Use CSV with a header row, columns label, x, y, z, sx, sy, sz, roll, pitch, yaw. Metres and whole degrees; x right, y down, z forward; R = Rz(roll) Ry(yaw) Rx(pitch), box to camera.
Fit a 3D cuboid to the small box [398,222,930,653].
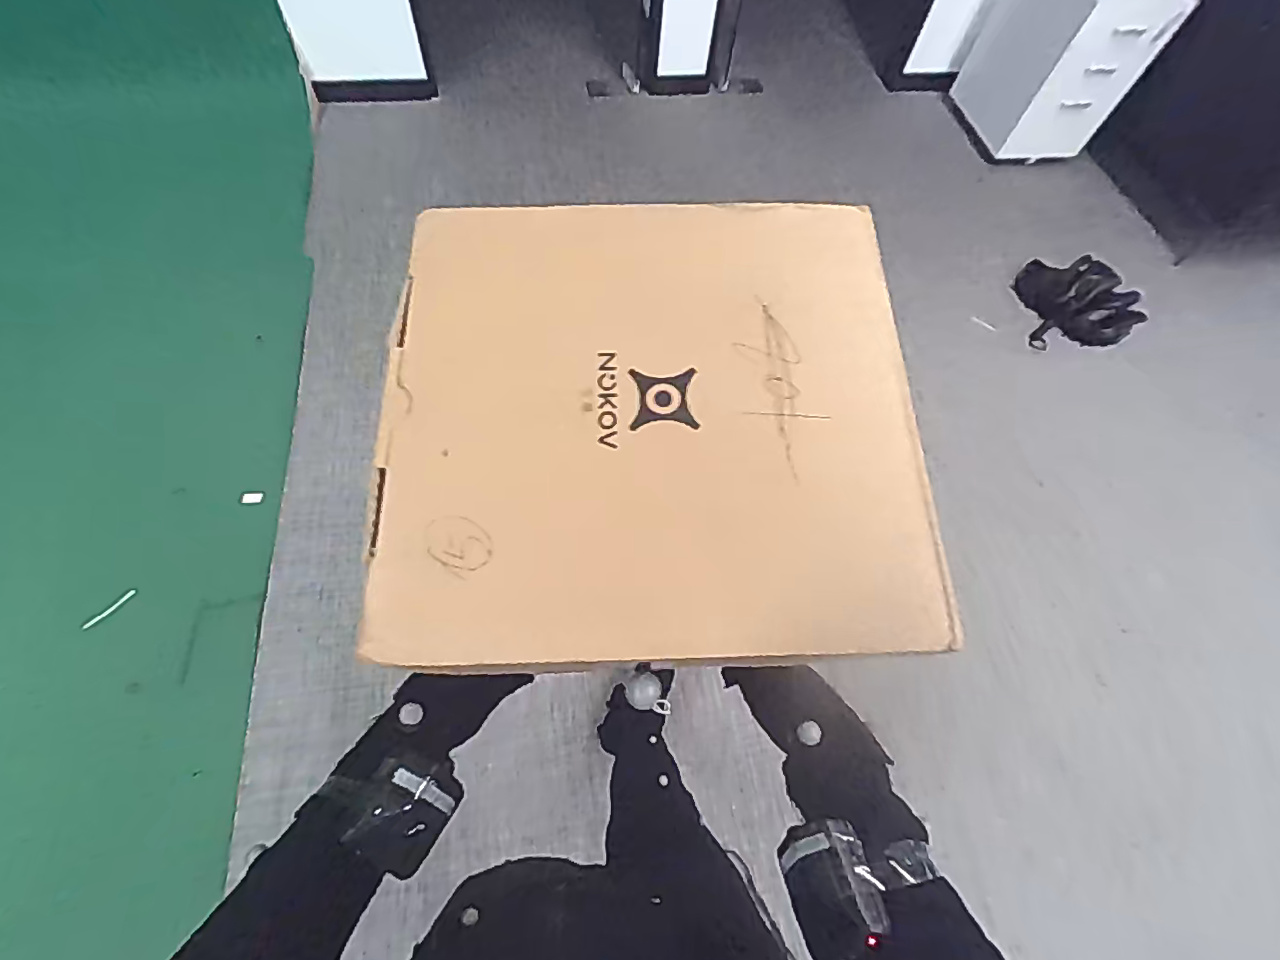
label,x,y,z,sx,sy,sz,roll,pitch,yaw
small box,0.005,-0.003,0.275,0.179,0.176,0.168,-1,71,-3
